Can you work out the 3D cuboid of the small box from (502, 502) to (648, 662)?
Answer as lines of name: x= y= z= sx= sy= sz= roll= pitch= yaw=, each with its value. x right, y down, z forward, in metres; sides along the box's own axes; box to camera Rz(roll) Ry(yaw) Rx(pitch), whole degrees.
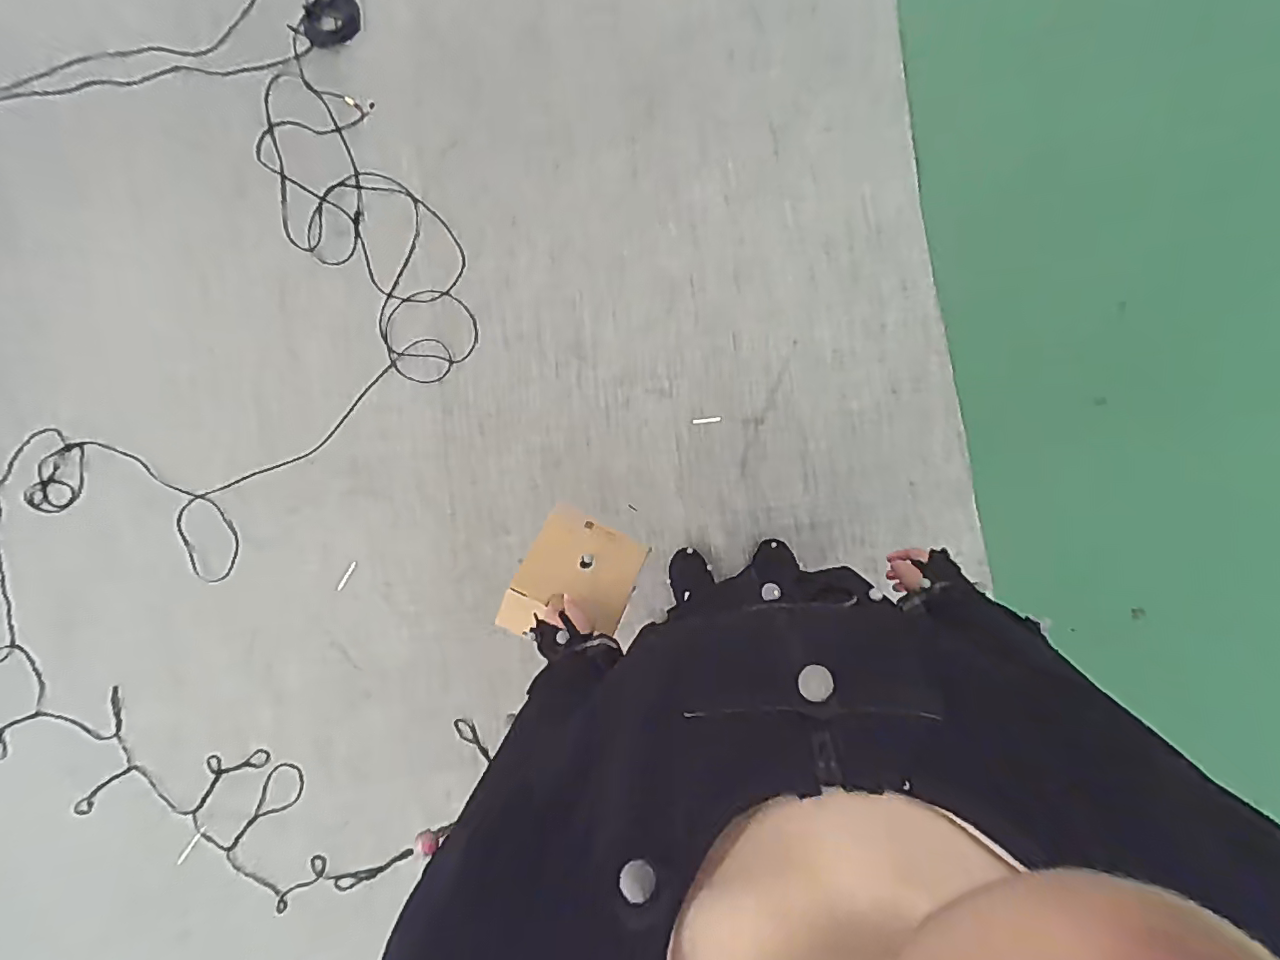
small box: x=-0.102 y=0.165 z=0.876 sx=0.168 sy=0.179 sz=0.176 roll=27 pitch=53 yaw=-3
